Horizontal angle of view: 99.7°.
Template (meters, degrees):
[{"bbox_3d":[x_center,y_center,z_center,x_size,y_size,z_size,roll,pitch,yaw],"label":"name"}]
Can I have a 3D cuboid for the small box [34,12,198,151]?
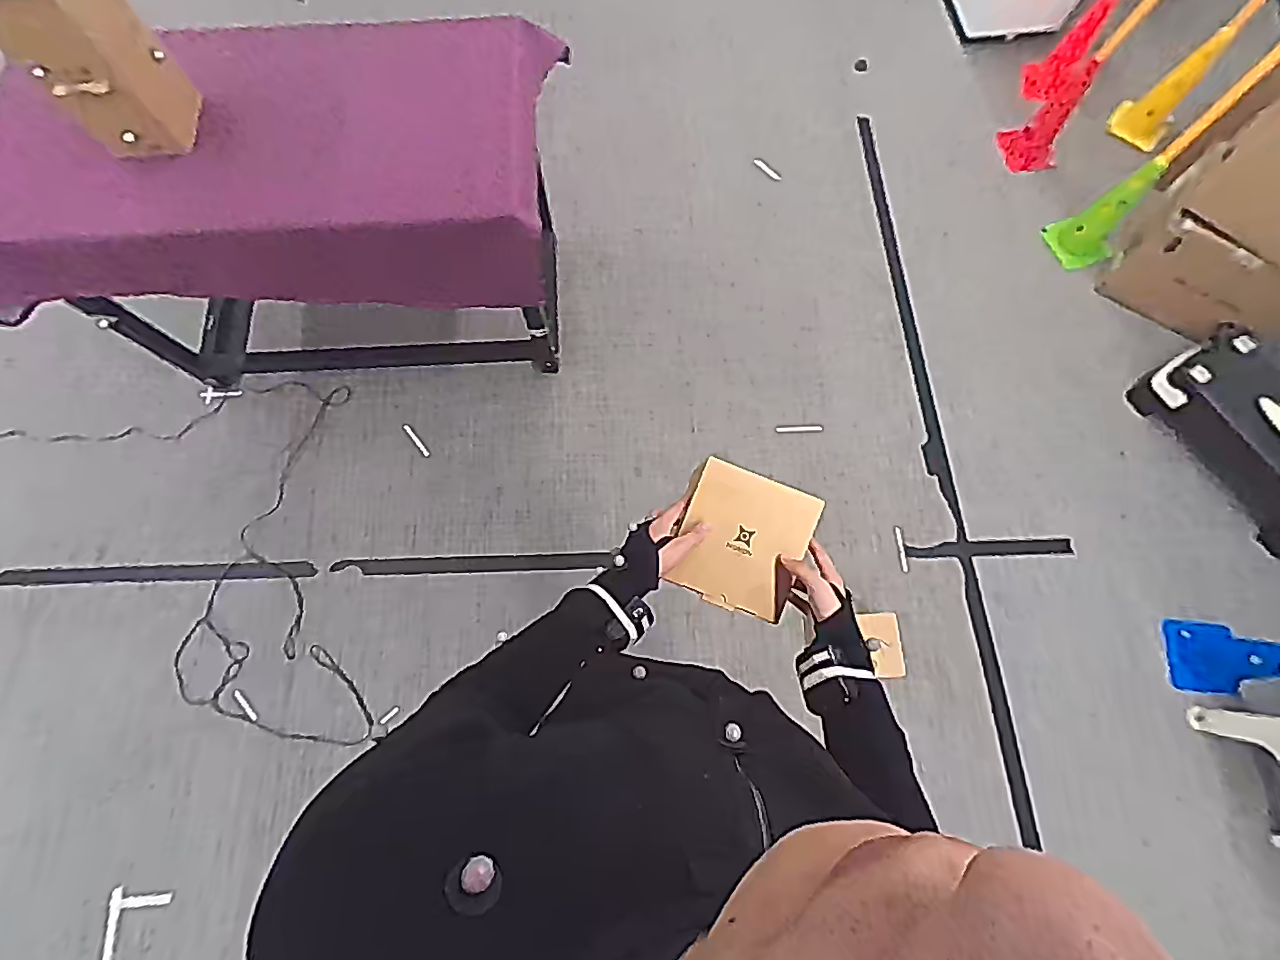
[{"bbox_3d":[-1.082,-0.830,1.135,0.168,0.176,0.179,-3,74,-1],"label":"small box"}]

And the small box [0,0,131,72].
[{"bbox_3d":[-1.082,-0.877,0.977,0.168,0.176,0.179,-7,73,-3],"label":"small box"}]
